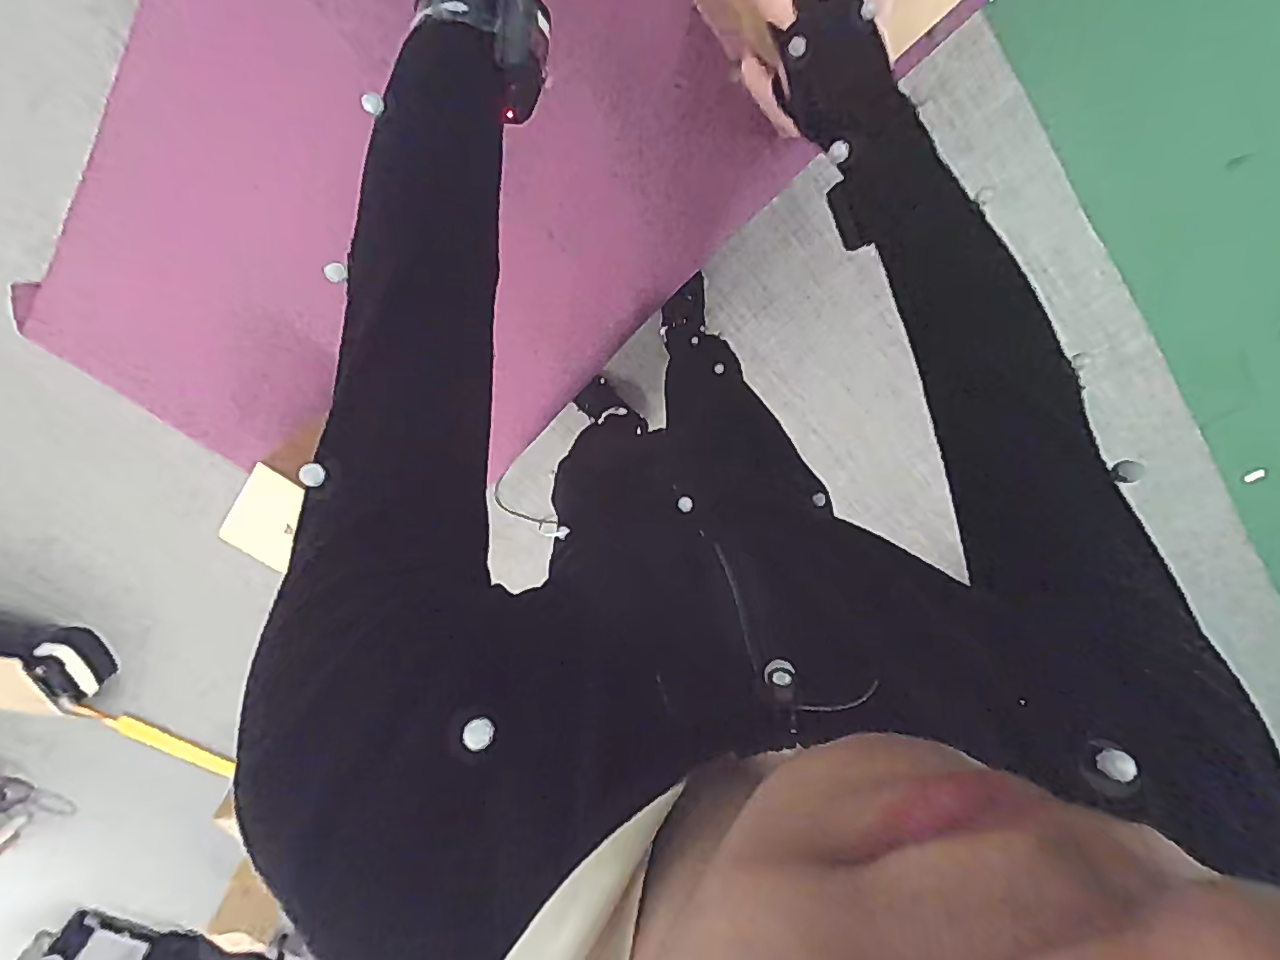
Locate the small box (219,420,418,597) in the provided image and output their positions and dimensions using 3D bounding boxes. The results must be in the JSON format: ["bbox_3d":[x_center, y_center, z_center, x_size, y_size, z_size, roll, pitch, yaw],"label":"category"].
[{"bbox_3d":[-0.476,0.038,0.827,0.179,0.176,0.168,39,116,-17],"label":"small box"}]

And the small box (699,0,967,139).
[{"bbox_3d":[0.164,-0.441,0.479,0.179,0.176,0.168,-35,113,24],"label":"small box"}]
